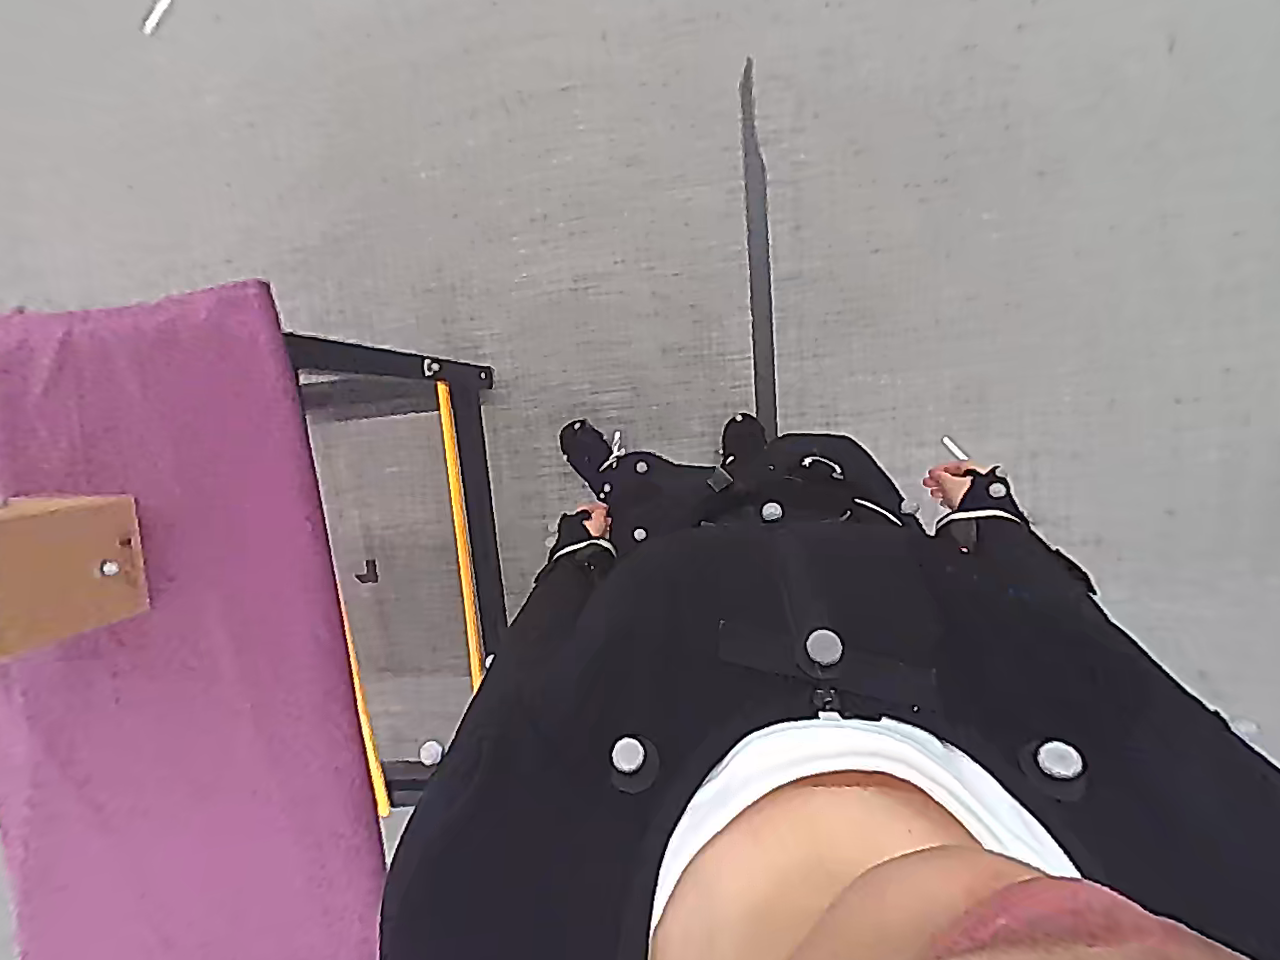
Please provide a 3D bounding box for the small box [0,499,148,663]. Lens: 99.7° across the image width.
[{"bbox_3d":[-0.789,0.118,0.685,0.179,0.176,0.168,-1,97,7],"label":"small box"}]
